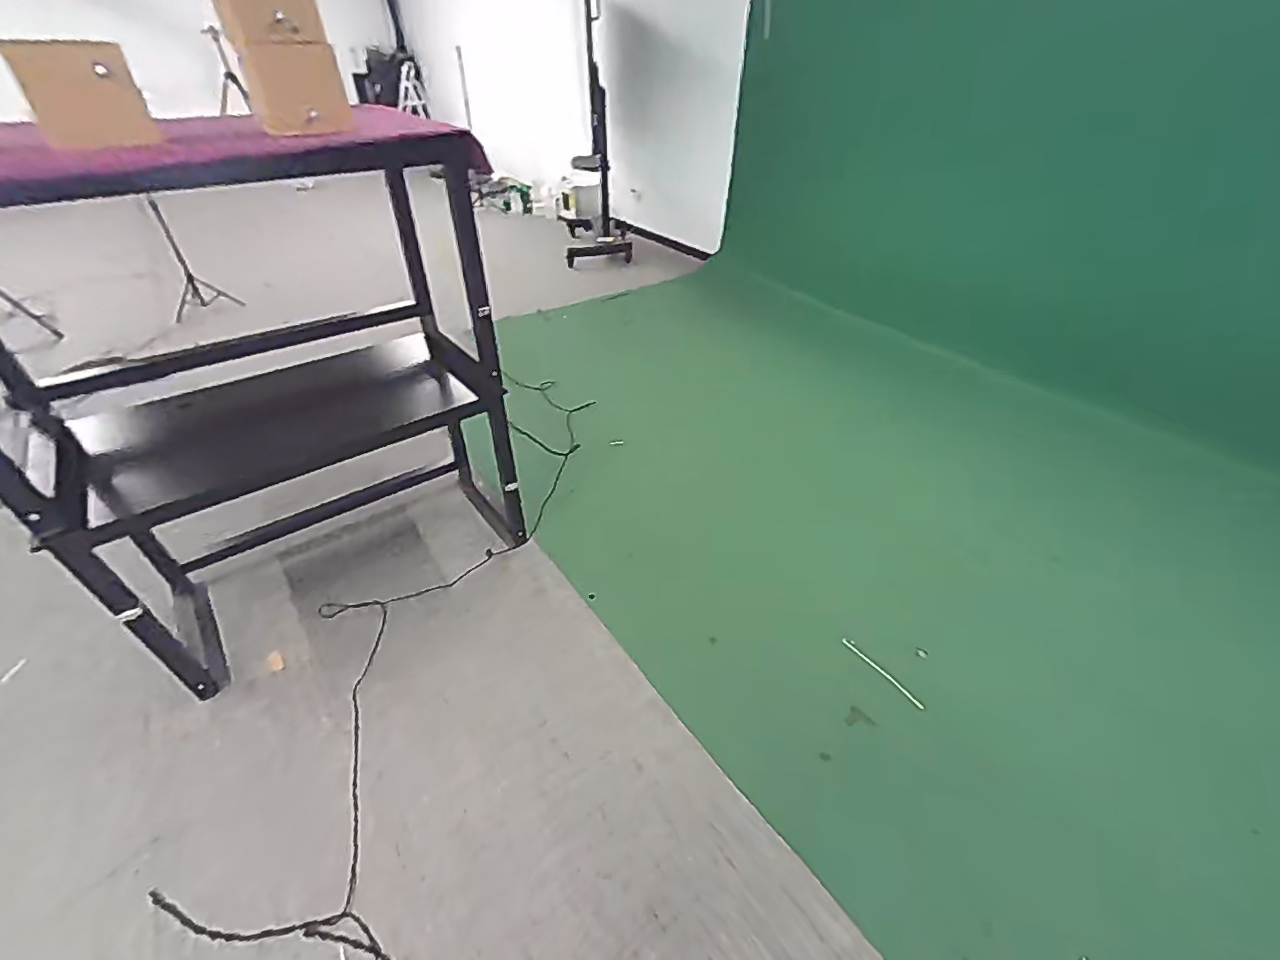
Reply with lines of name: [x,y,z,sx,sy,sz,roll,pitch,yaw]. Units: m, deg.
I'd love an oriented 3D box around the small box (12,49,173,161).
small box: [-1.075,-0.751,1.081,0.179,0.176,0.168,-25,45,-29]

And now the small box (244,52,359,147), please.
small box: [-0.781,-0.890,1.263,0.179,0.176,0.168,-26,44,-30]
